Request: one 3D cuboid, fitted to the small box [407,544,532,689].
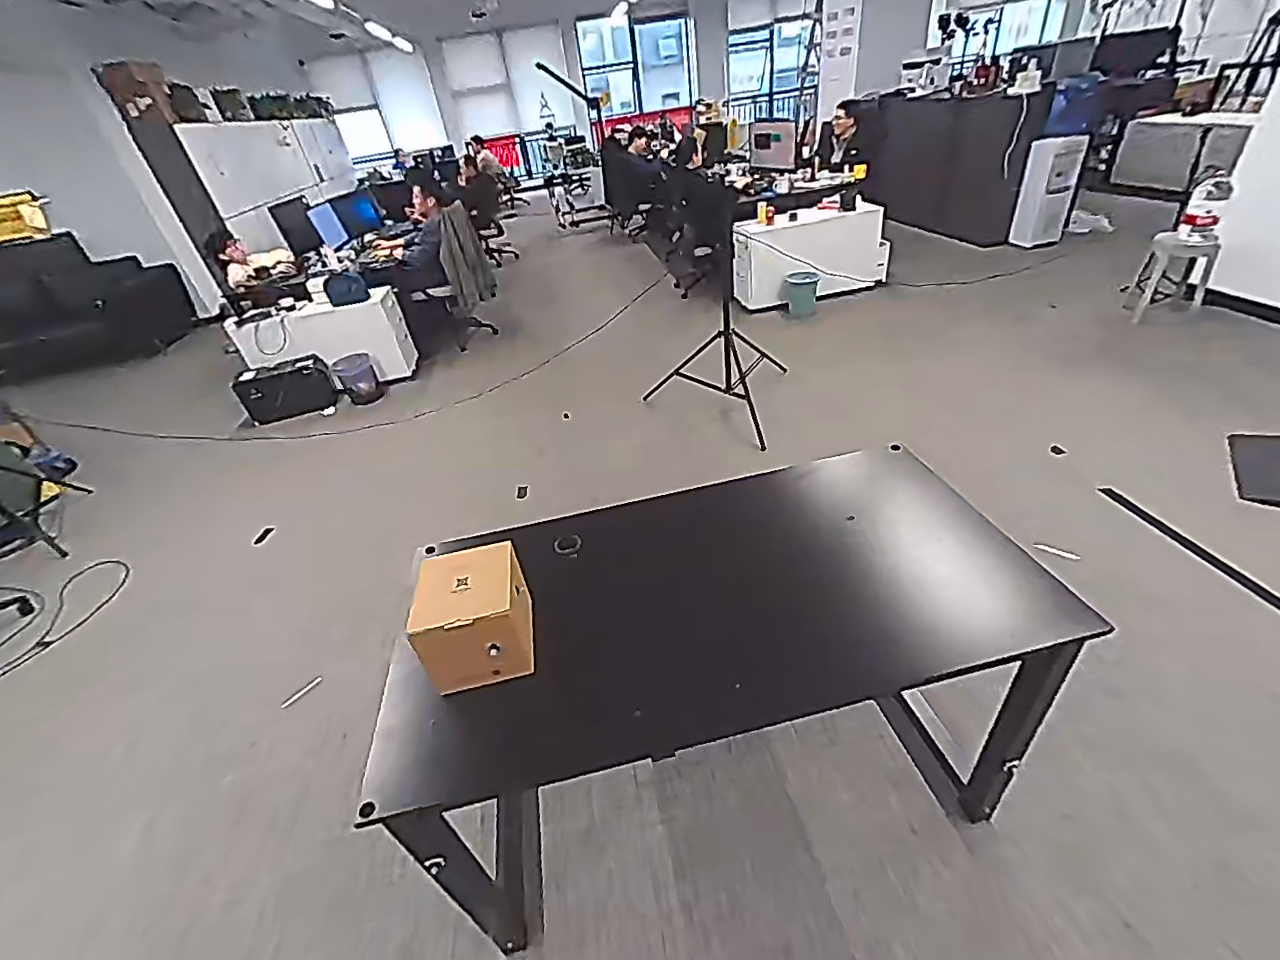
[{"bbox_3d":[-0.292,0.247,0.963,0.168,0.176,0.179,-12,34,-6],"label":"small box"}]
